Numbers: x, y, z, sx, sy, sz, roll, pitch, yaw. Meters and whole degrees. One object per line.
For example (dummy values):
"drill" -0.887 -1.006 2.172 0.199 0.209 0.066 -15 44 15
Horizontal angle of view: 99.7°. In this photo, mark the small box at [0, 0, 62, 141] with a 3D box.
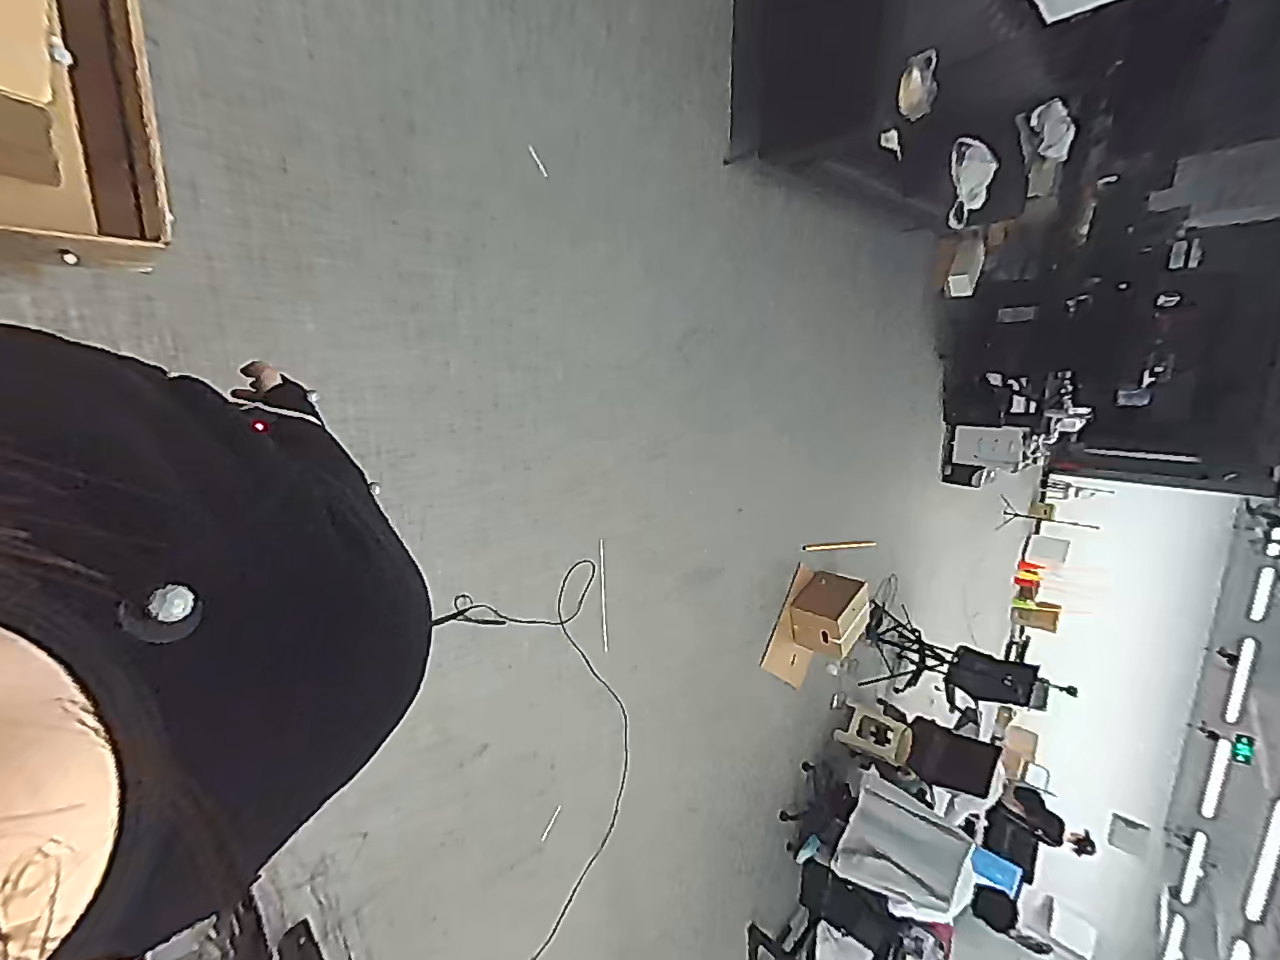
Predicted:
"small box" -0.614 -0.422 0.456 0.168 0.176 0.179 -3 102 -46
